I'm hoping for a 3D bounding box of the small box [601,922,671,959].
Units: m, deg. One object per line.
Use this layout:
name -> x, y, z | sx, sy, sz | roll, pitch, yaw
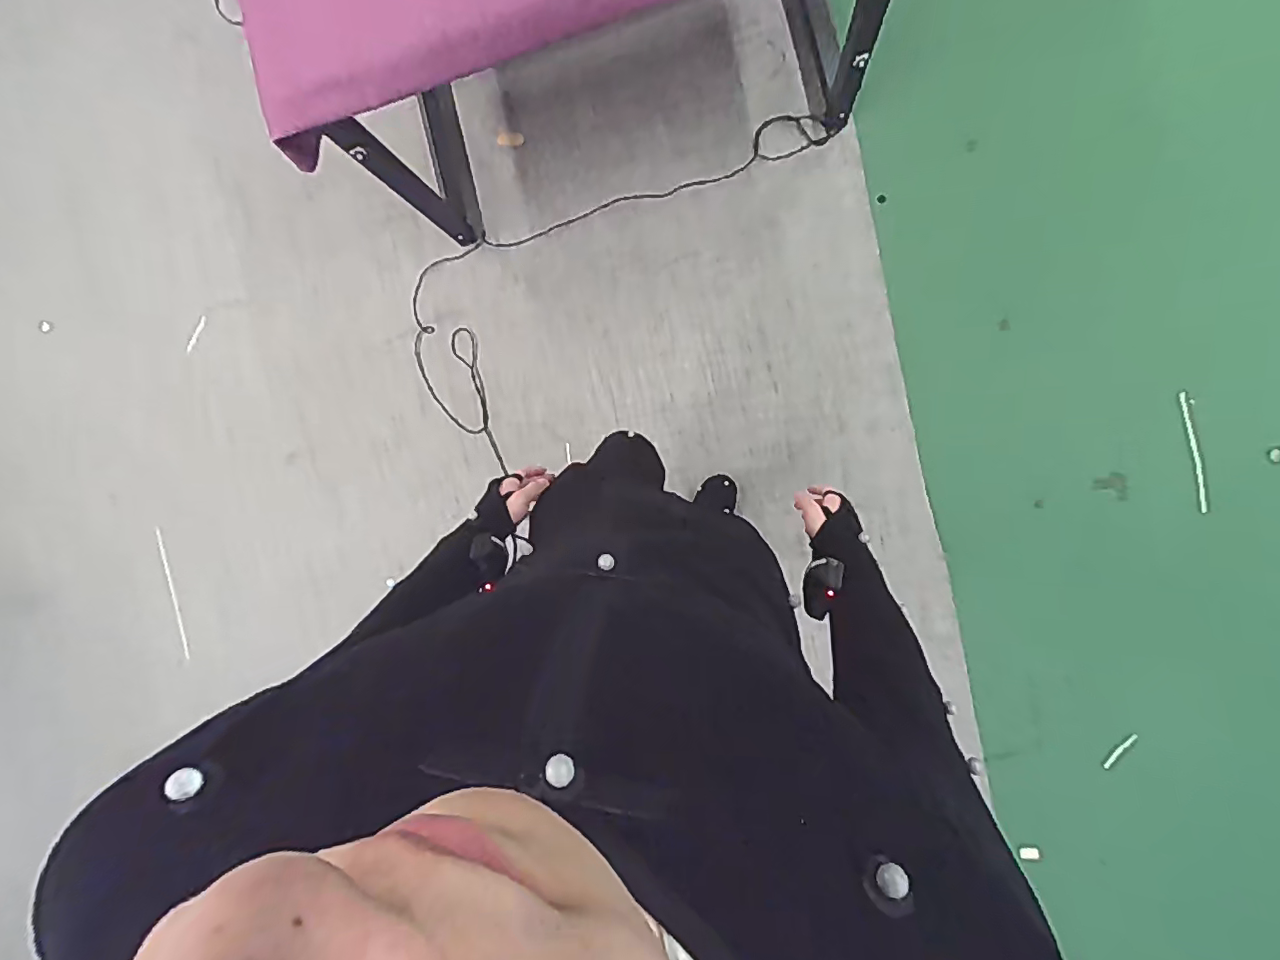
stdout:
small box -> -0.009, 1.308, 1.406 | 0.168, 0.176, 0.179 | -6, 91, 9
